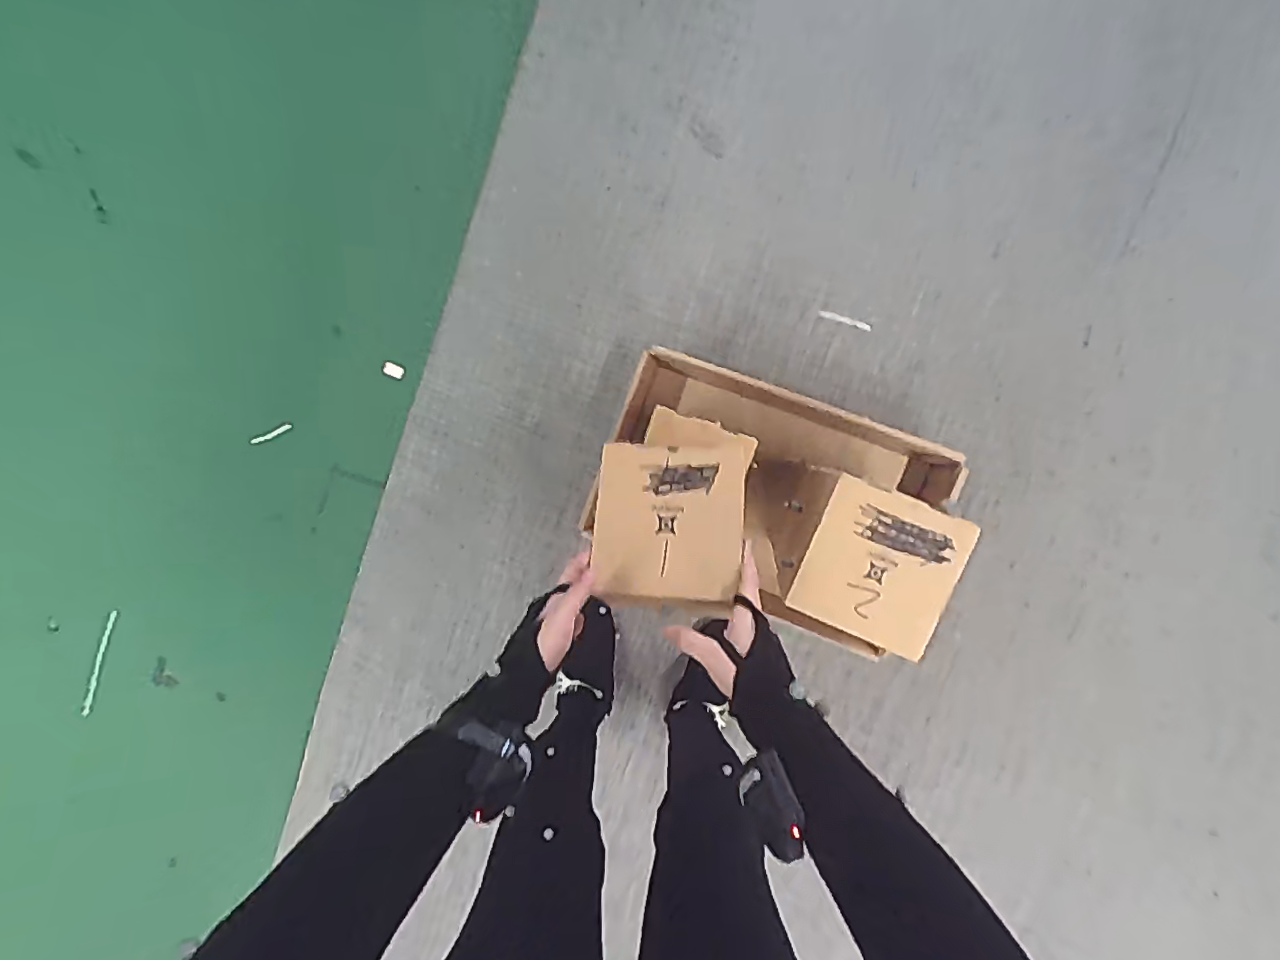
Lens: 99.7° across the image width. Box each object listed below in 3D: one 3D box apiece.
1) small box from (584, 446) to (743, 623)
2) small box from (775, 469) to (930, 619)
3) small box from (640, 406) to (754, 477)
[{"bbox_3d":[0.037,0.073,0.665,0.168,0.176,0.179,1,70,9],"label":"small box"},{"bbox_3d":[0.325,0.092,0.868,0.168,0.176,0.179,22,94,10],"label":"small box"},{"bbox_3d":[0.082,-0.007,0.903,0.168,0.176,0.179,21,94,8],"label":"small box"}]
